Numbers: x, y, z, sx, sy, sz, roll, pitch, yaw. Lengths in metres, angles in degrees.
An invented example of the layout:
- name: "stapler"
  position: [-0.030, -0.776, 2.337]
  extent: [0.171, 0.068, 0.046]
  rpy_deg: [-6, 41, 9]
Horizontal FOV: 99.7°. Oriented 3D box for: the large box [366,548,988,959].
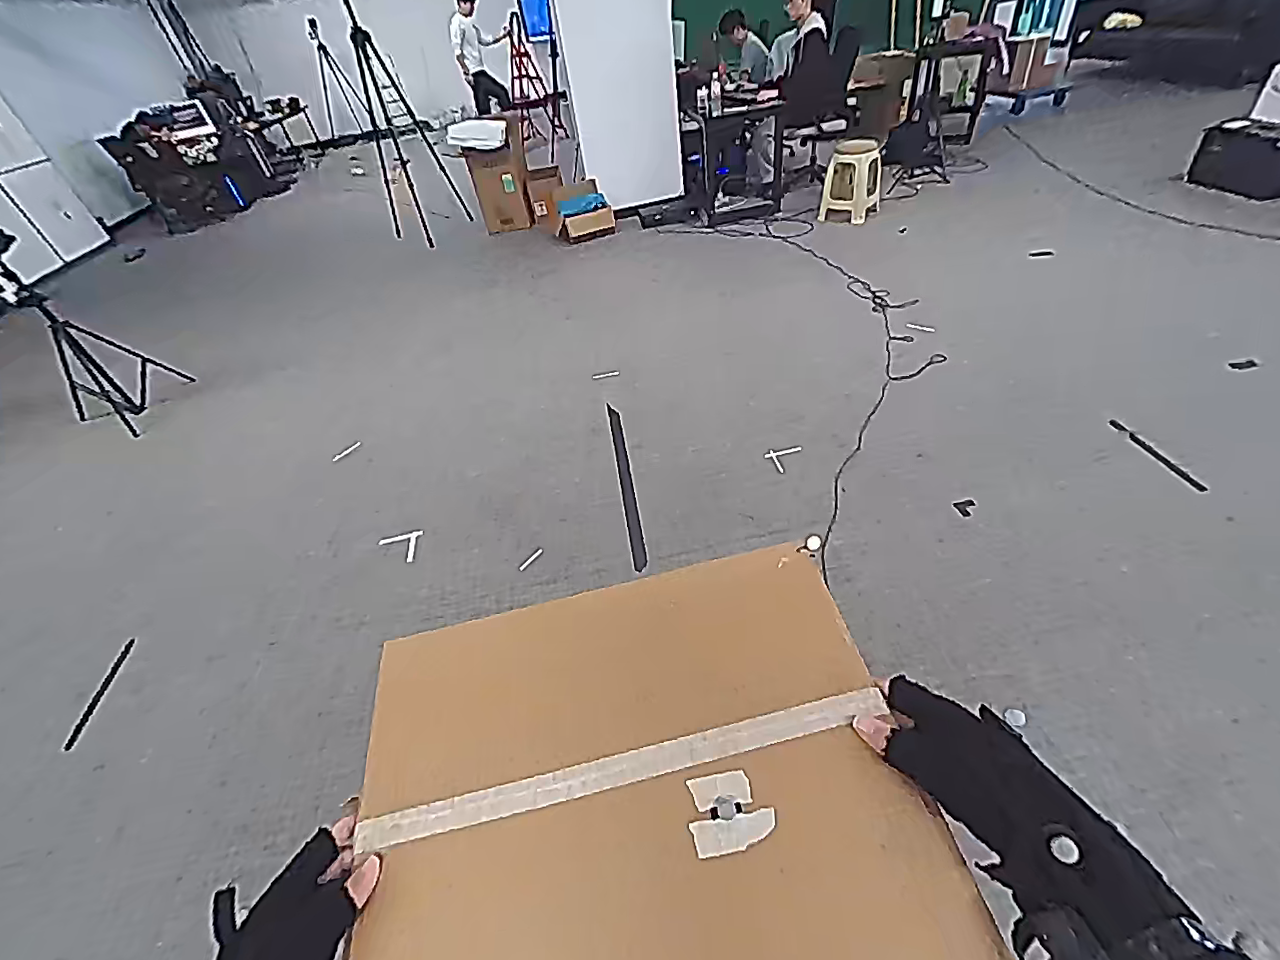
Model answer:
- name: "large box"
  position: [0.012, 0.321, 0.529]
  extent: [0.408, 0.320, 0.320]
  rpy_deg: [-14, 49, -2]
